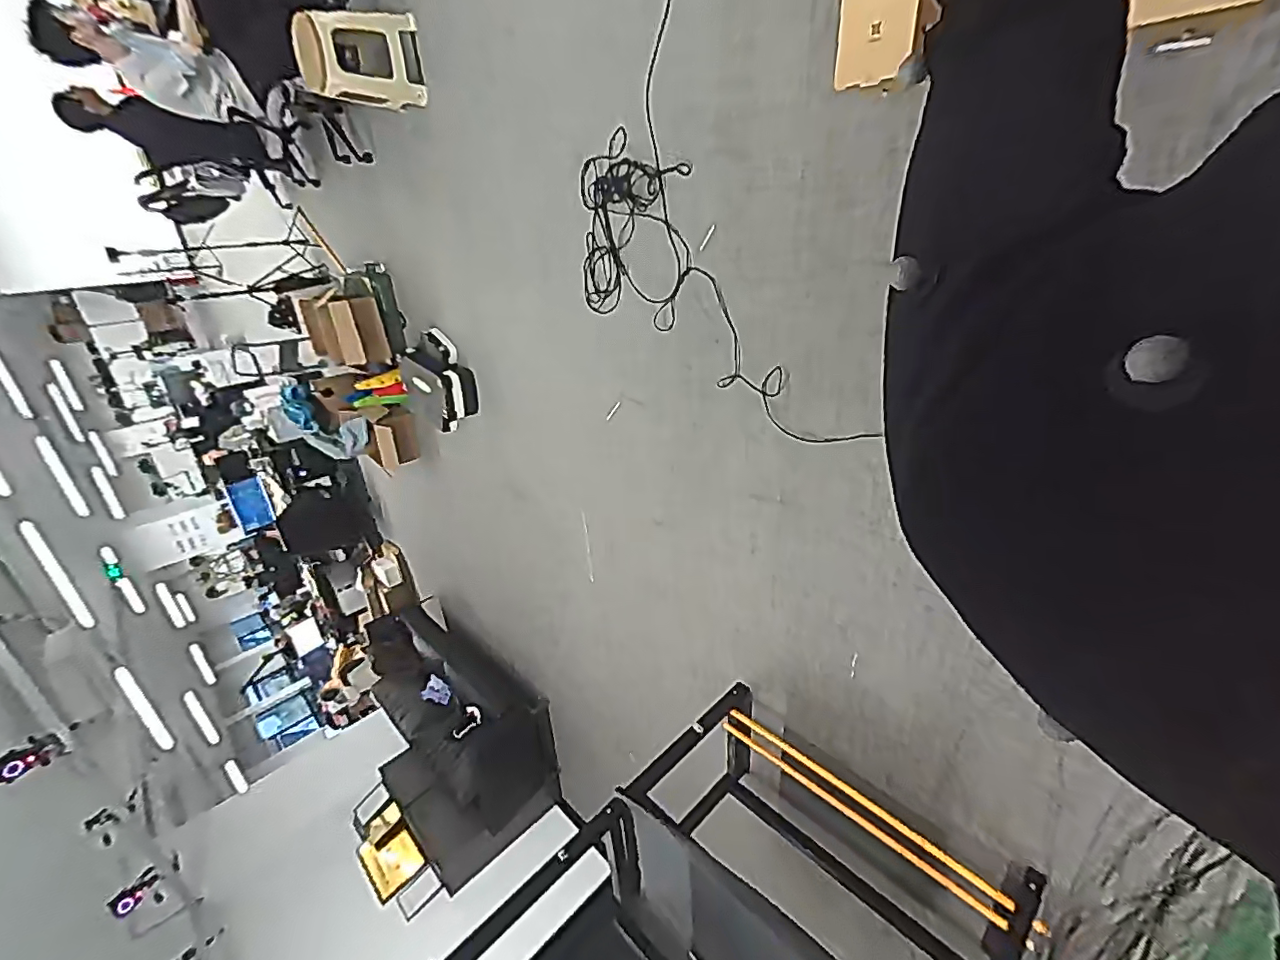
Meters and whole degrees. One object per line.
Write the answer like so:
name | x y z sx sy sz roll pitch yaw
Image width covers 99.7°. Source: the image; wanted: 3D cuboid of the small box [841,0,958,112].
small box | 0.562 -0.922 1.171 0.168 0.176 0.179 23 125 43
